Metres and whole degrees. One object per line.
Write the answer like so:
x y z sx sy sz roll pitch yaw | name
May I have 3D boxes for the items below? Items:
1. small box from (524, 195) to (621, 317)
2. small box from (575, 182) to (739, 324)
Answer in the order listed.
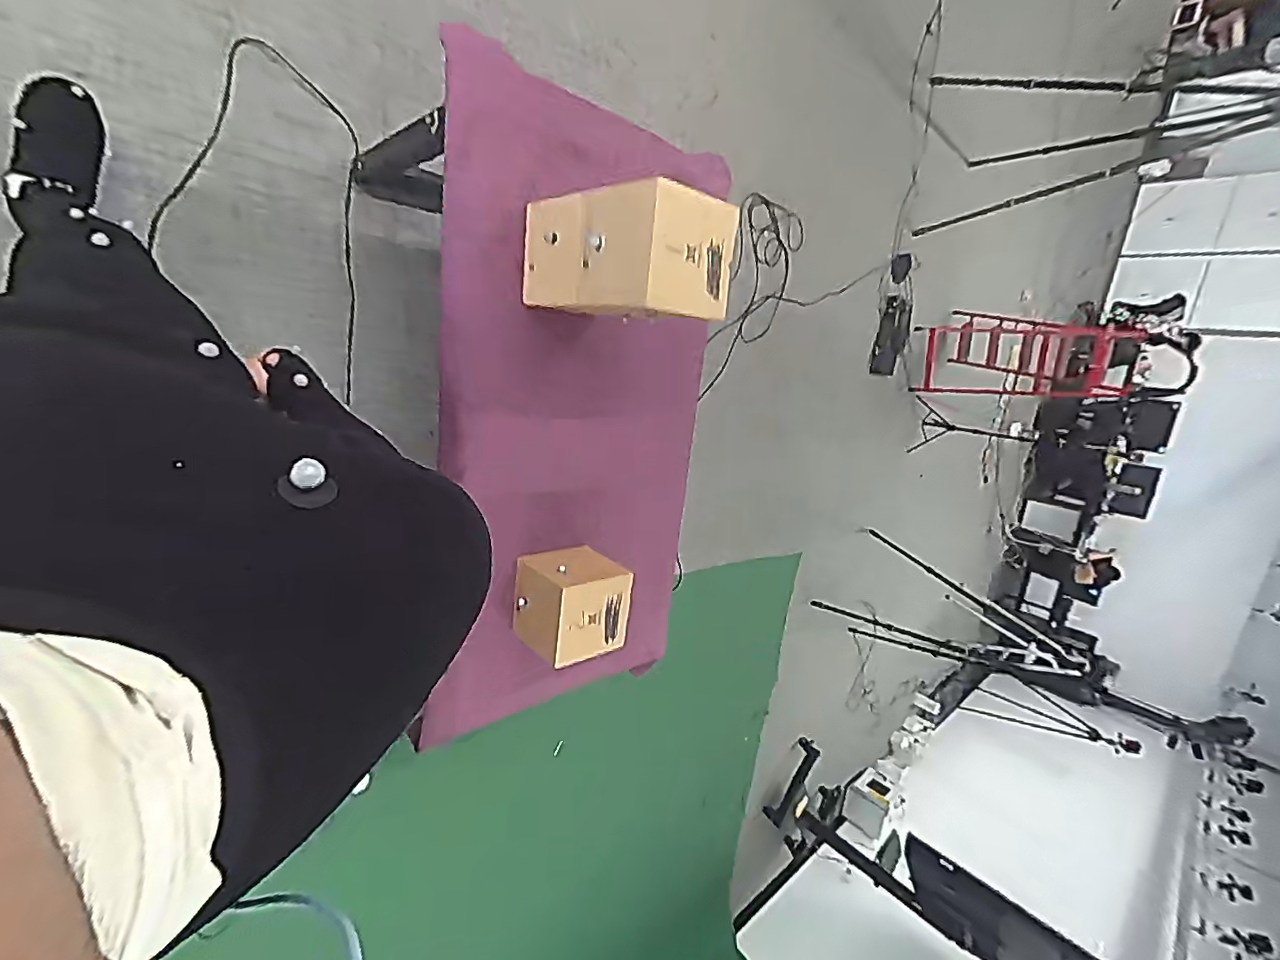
-0.088 -0.379 0.947 0.179 0.176 0.168 -8 109 -42 | small box
0.024 -0.338 0.833 0.179 0.176 0.168 -6 108 -42 | small box
